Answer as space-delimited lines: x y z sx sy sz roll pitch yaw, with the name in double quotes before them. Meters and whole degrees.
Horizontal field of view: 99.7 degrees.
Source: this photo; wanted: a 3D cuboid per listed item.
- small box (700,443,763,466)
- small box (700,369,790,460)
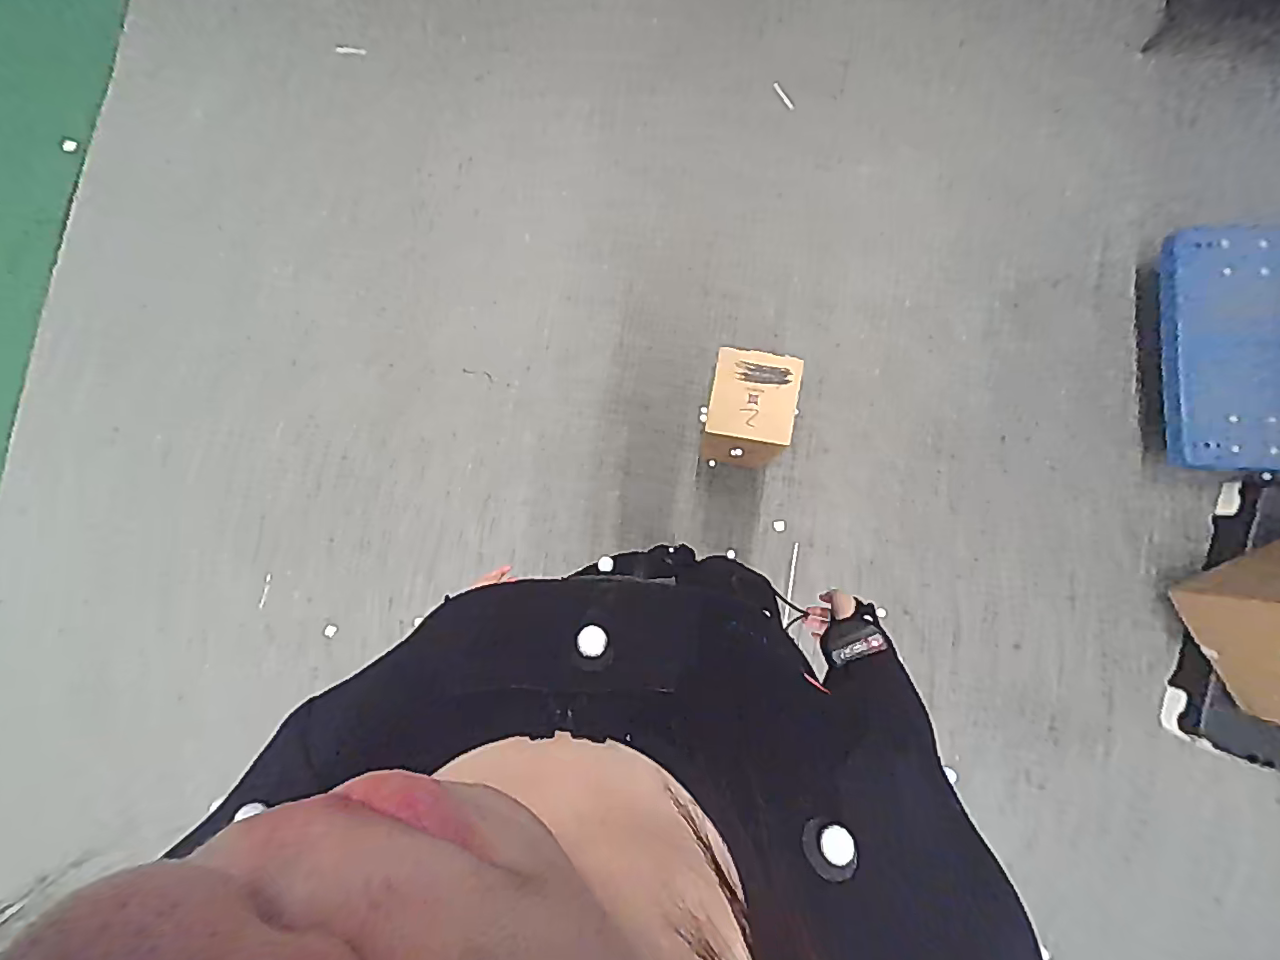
"small box" 0.256 -0.140 1.446 0.168 0.176 0.179 11 85 6
"small box" 0.242 -0.148 1.282 0.179 0.176 0.168 11 87 6
